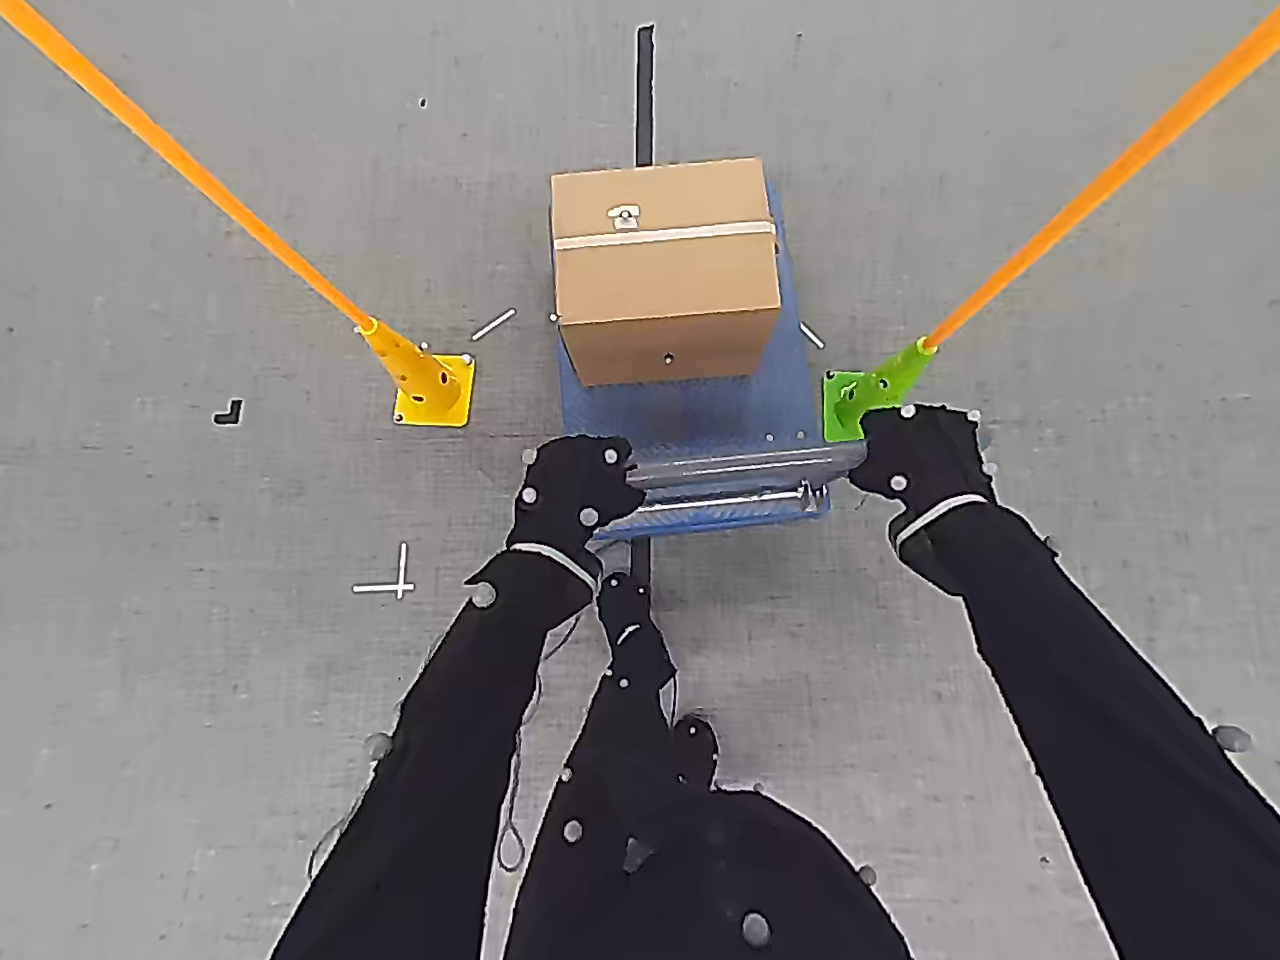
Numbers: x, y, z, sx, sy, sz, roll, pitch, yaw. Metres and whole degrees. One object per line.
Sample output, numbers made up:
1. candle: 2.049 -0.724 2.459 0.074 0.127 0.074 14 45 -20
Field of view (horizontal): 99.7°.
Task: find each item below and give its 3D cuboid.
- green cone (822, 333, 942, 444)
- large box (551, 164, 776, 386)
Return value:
1. green cone: 0.572 -0.230 1.238 0.202 0.368 0.200 3 78 2
2. large box: 0.046 -0.408 1.150 0.408 0.320 0.320 -4 78 2
